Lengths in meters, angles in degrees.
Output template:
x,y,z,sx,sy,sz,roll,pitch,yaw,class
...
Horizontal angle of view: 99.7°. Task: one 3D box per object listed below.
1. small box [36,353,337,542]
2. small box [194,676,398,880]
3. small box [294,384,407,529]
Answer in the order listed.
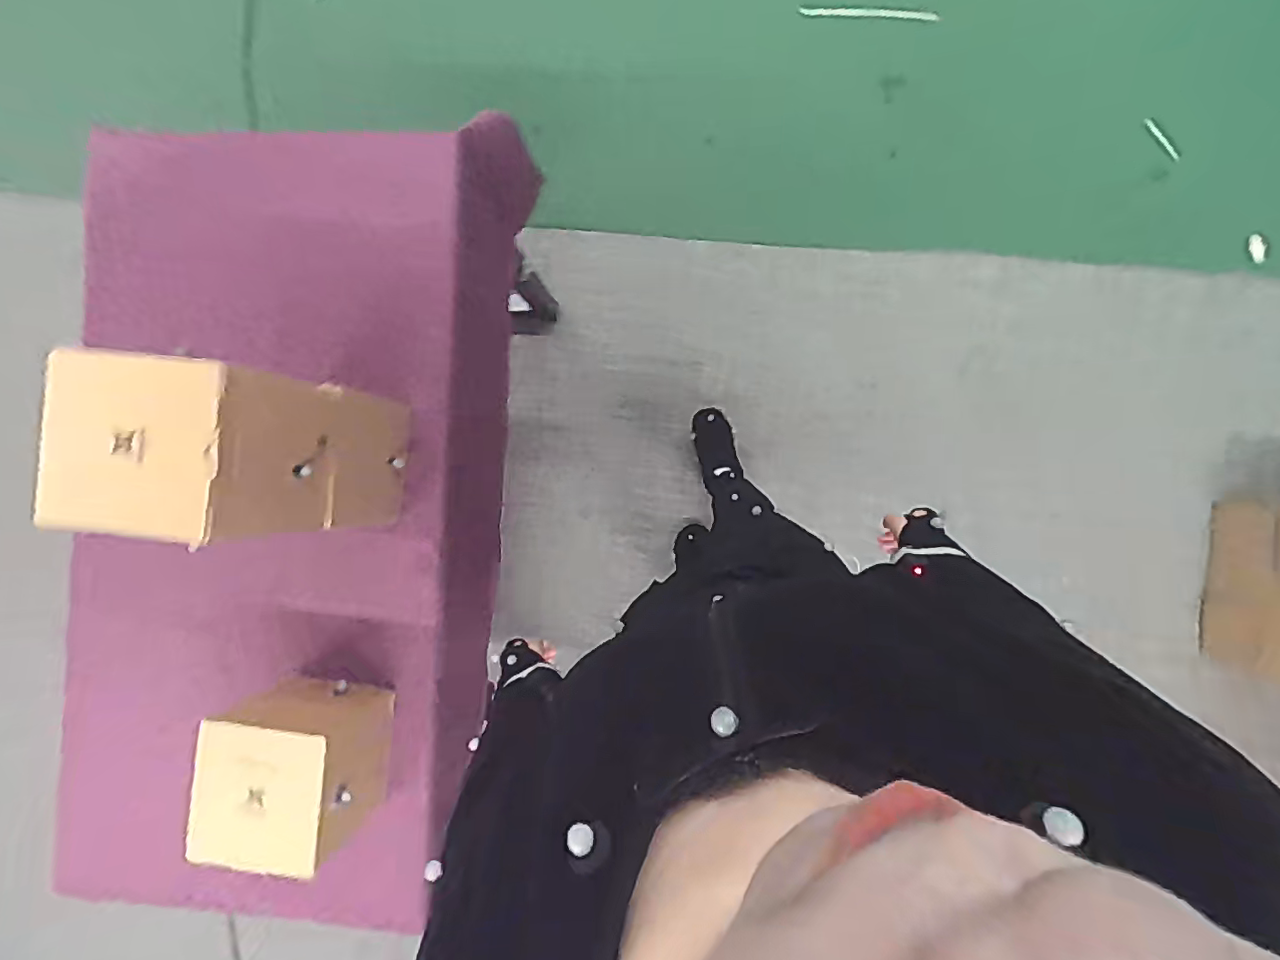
x,y,z,sx,sy,sz,roll,pitch,yaw,class
-0.464,-0.030,0.578,0.179,0.176,0.168,5,90,4,small box
-0.453,0.391,0.738,0.168,0.176,0.179,5,89,4,small box
-0.440,-0.030,0.740,0.168,0.176,0.179,4,89,5,small box
